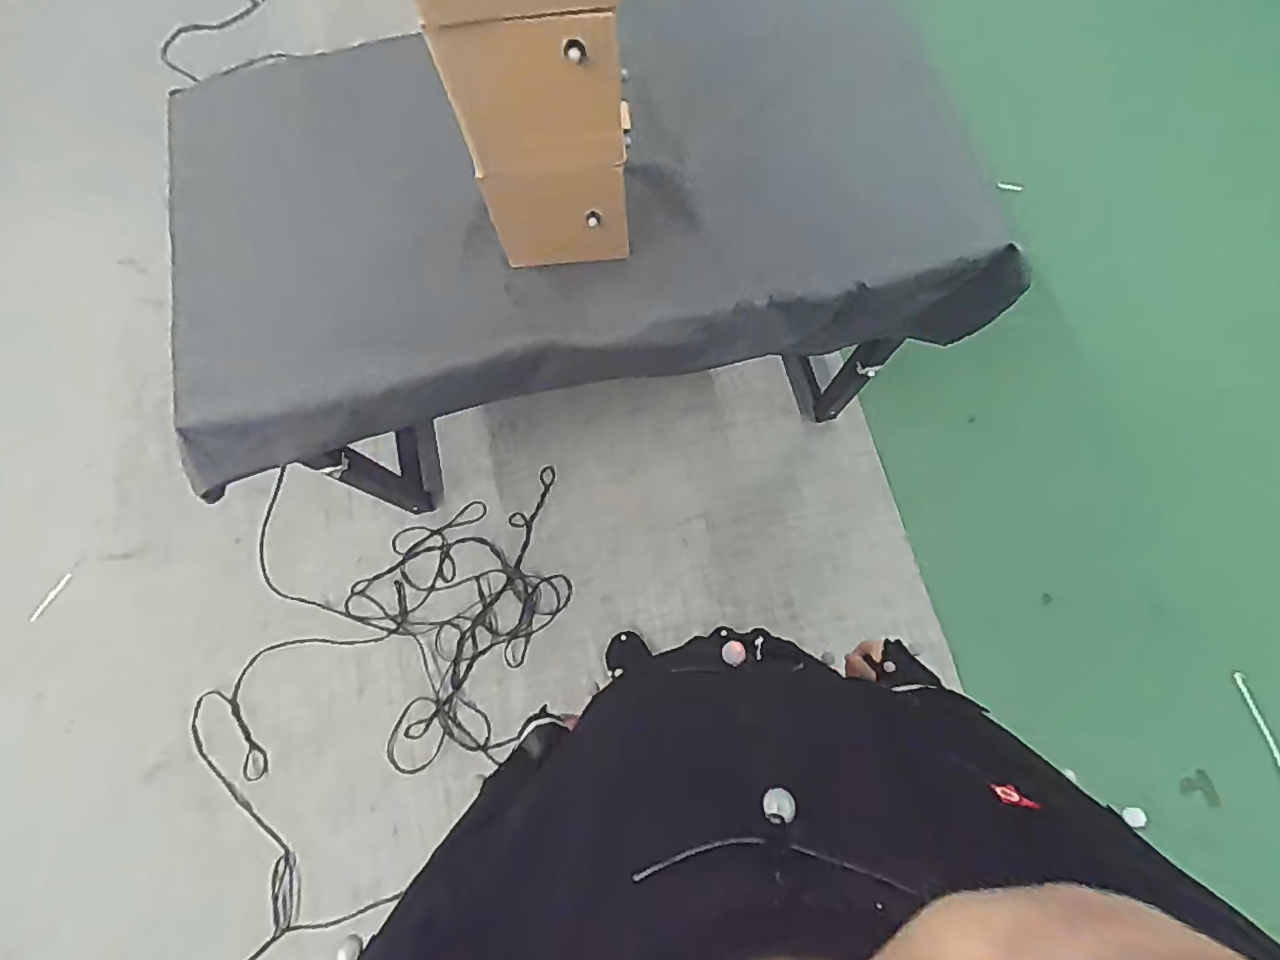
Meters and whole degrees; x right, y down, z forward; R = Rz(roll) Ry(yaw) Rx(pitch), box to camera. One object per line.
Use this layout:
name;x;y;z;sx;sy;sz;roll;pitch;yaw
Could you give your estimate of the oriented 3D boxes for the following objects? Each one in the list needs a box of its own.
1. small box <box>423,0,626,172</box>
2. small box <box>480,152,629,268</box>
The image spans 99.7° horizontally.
small box;-0.110;-0.460;0.577;0.179;0.176;0.168;-5;74;0
small box;-0.106;-0.413;0.733;0.179;0.176;0.168;-5;74;1
